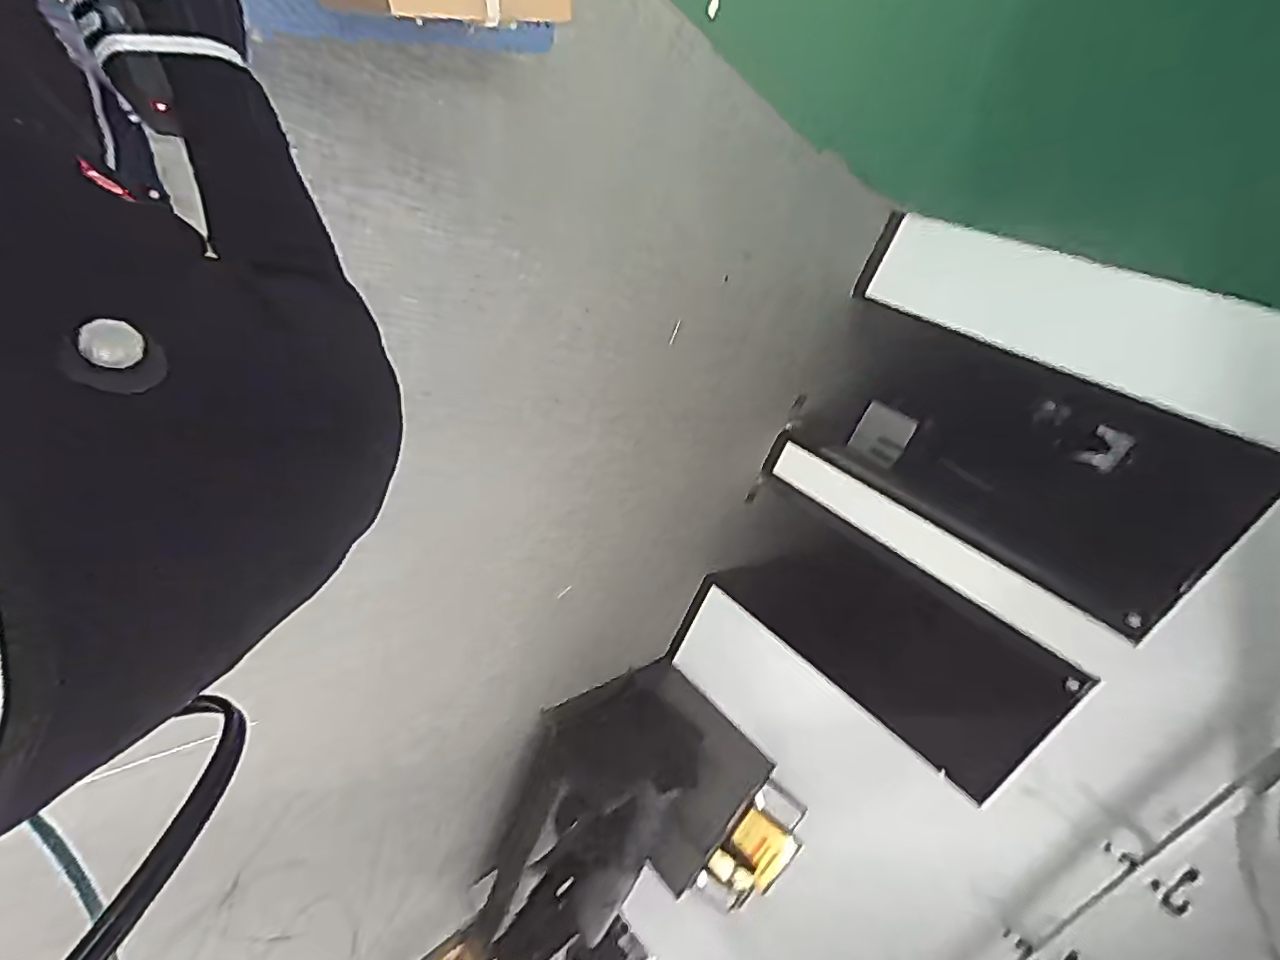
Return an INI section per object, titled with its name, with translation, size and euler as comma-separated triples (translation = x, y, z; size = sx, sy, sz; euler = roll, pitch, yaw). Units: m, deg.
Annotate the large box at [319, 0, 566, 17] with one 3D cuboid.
[large box]
translation = -0.331, -0.936, 0.781
size = 0.320, 0.320, 0.408
euler = -28, 139, -31
